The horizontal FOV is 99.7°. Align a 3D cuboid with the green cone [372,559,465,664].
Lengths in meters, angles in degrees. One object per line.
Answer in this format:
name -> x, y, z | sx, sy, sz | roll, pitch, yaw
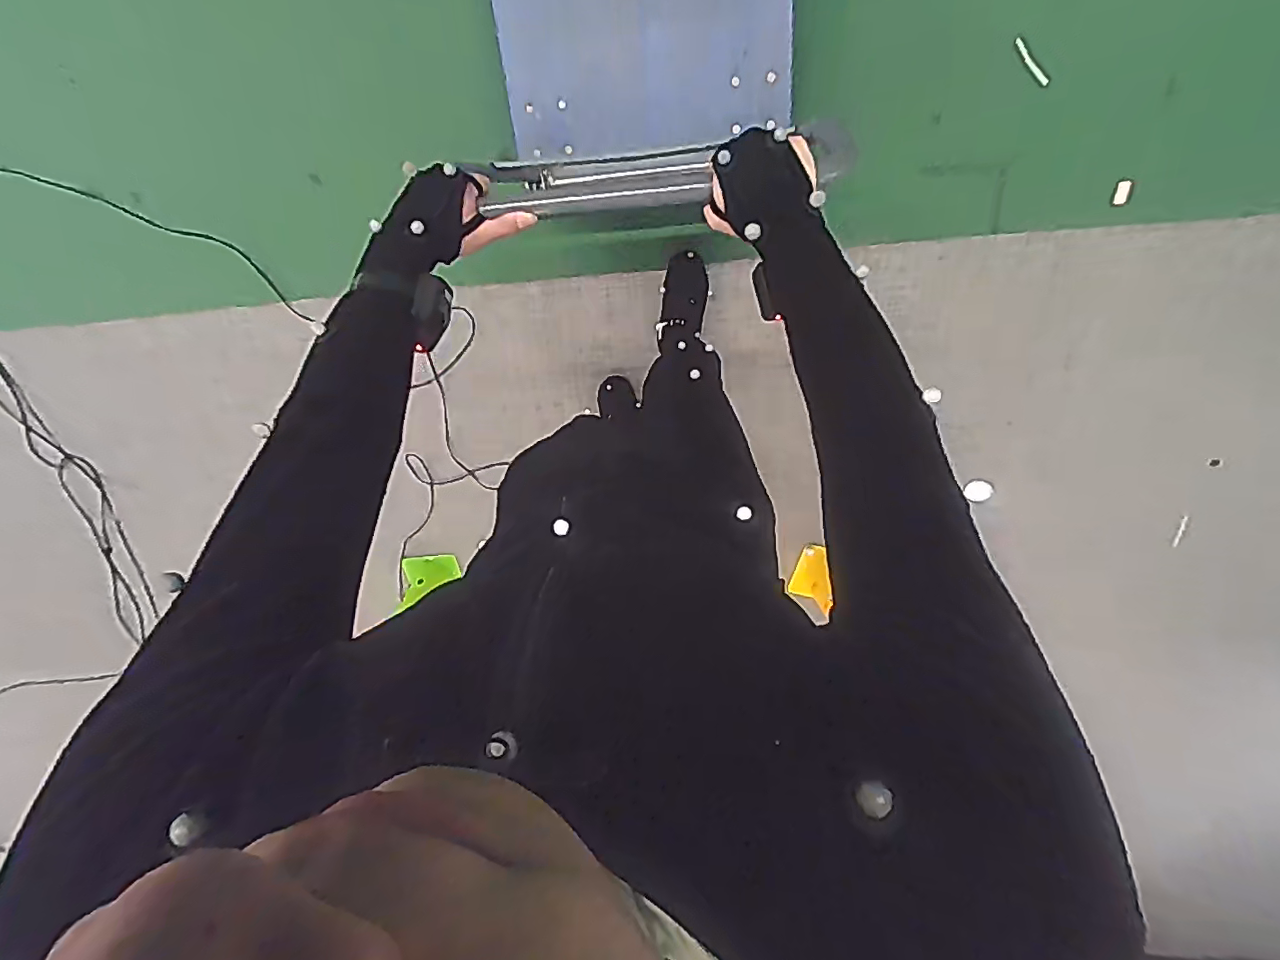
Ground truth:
green cone -> -0.738, 0.435, 1.722 | 0.202, 0.368, 0.200 | -6, 116, 9
